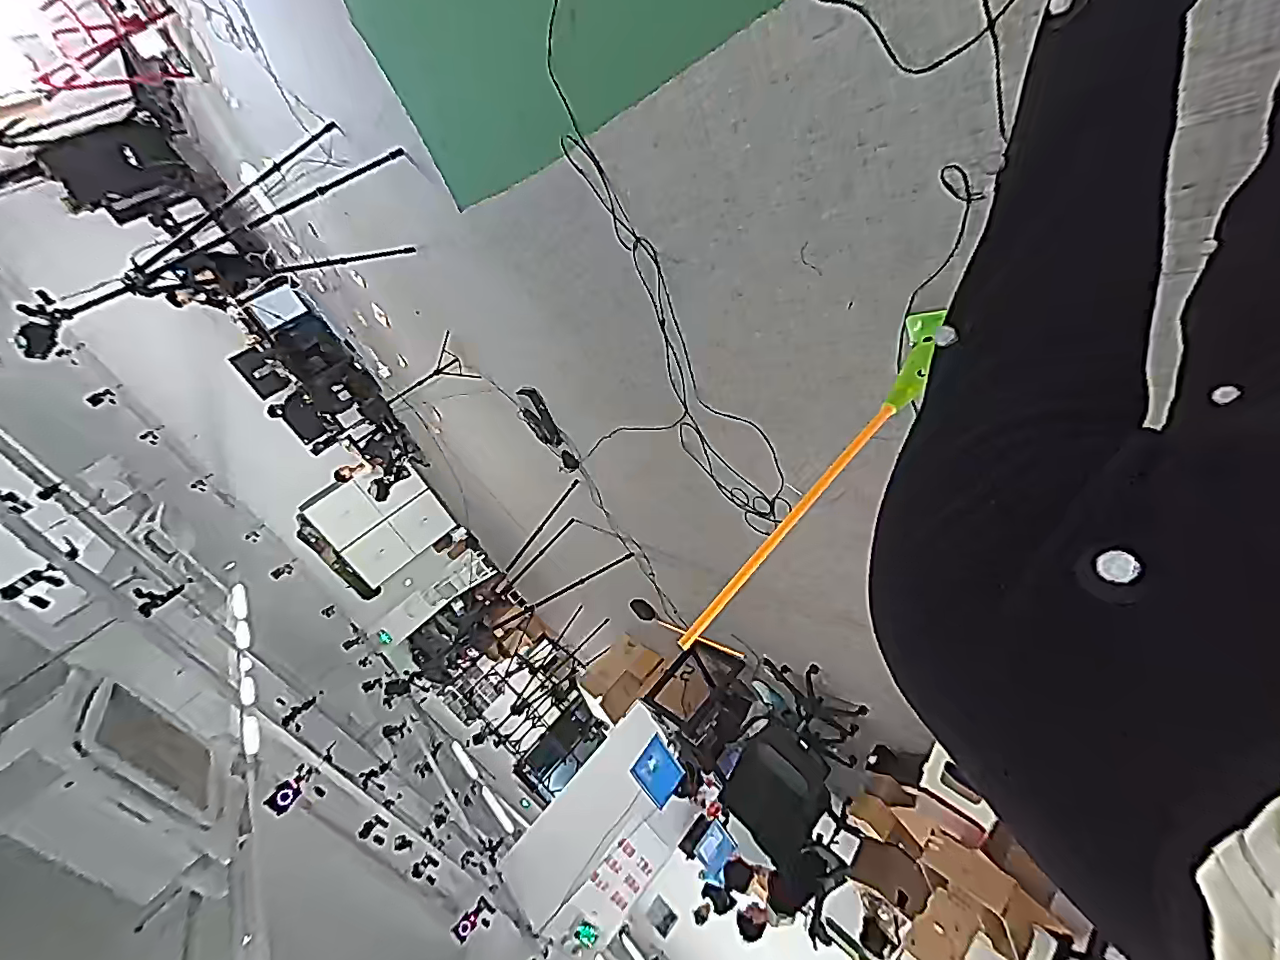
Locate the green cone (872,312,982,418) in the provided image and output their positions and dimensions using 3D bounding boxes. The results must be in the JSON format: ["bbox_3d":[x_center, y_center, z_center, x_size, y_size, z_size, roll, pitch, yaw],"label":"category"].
[{"bbox_3d":[0.770,-0.294,1.526,0.202,0.368,0.200,10,136,55],"label":"green cone"}]
